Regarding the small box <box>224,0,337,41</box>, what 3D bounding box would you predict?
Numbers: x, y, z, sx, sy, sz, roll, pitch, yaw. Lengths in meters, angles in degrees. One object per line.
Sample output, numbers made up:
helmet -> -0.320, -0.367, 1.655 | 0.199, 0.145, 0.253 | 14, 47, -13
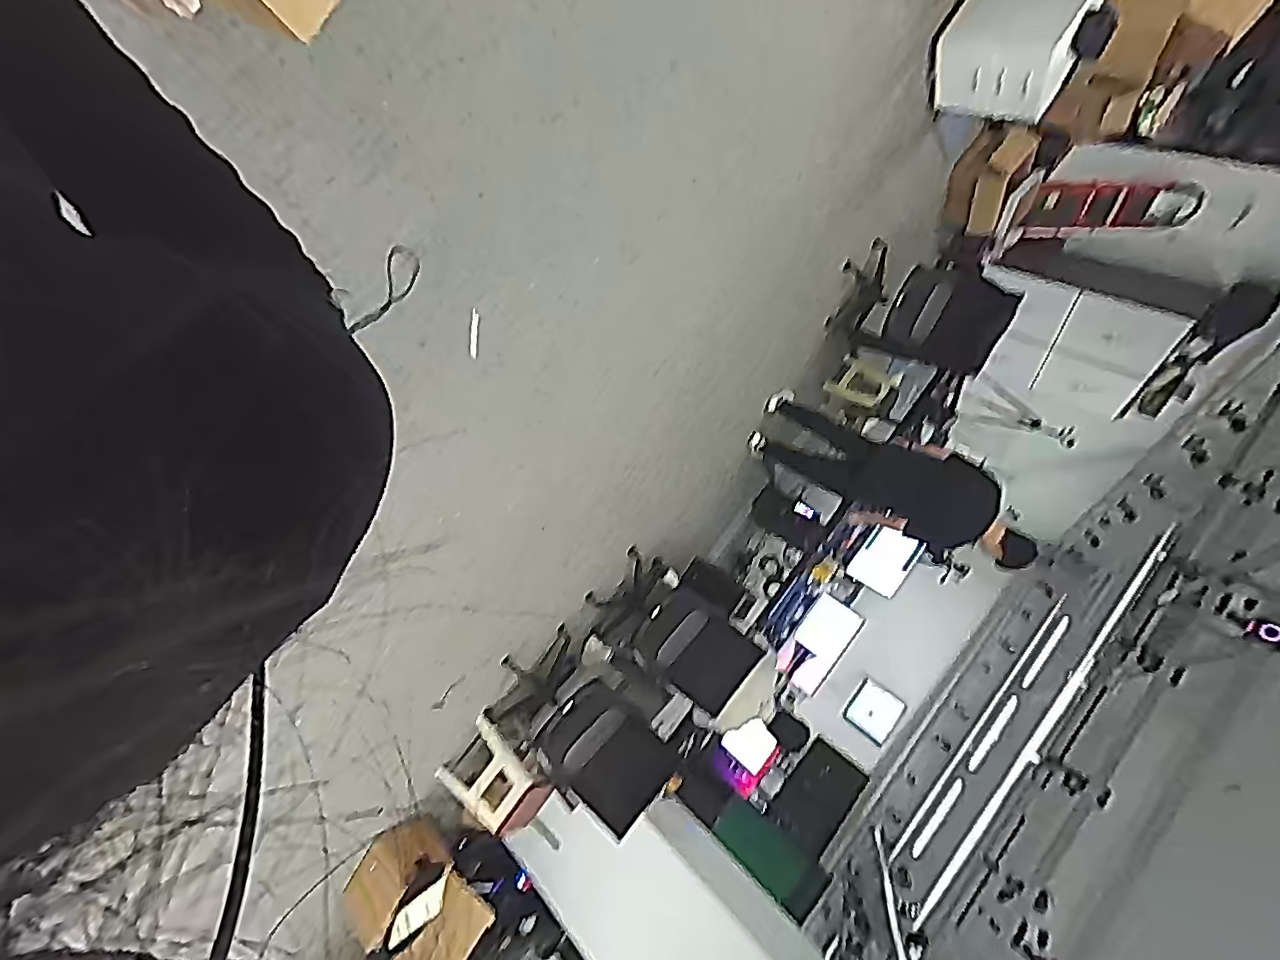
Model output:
small box -> -0.360, -0.544, 0.477 | 0.168, 0.176, 0.179 | -52, 150, 2

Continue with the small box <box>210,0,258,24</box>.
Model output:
small box -> -0.468, -0.637, 0.562 | 0.168, 0.176, 0.179 | -52, 150, 2
